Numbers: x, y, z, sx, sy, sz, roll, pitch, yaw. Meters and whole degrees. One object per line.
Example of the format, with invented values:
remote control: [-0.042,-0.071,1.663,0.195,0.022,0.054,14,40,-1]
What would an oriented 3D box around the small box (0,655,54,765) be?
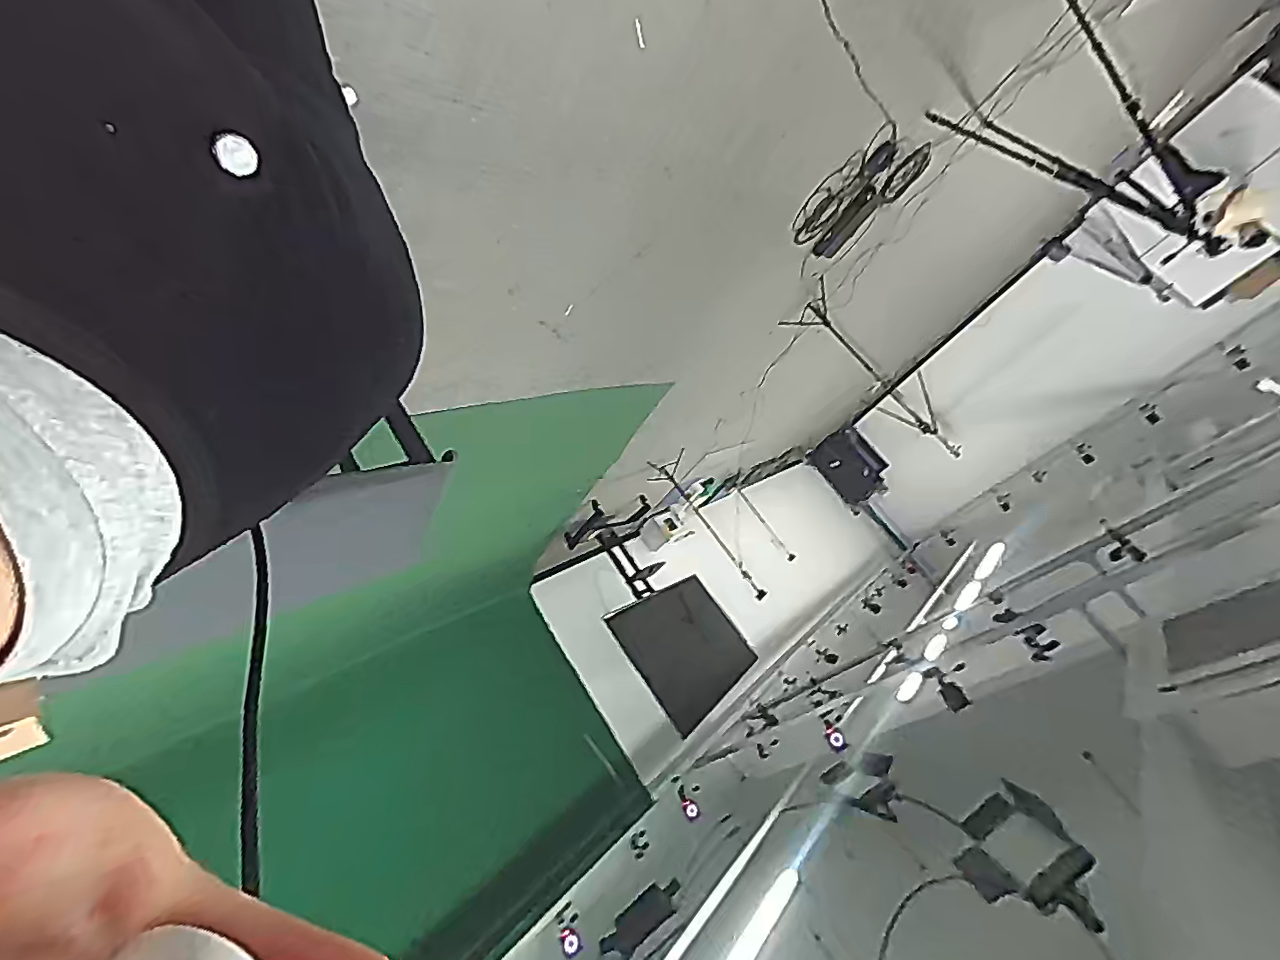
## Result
small box: [-1.342,0.481,1.095,0.168,0.176,0.179,-19,157,-47]
